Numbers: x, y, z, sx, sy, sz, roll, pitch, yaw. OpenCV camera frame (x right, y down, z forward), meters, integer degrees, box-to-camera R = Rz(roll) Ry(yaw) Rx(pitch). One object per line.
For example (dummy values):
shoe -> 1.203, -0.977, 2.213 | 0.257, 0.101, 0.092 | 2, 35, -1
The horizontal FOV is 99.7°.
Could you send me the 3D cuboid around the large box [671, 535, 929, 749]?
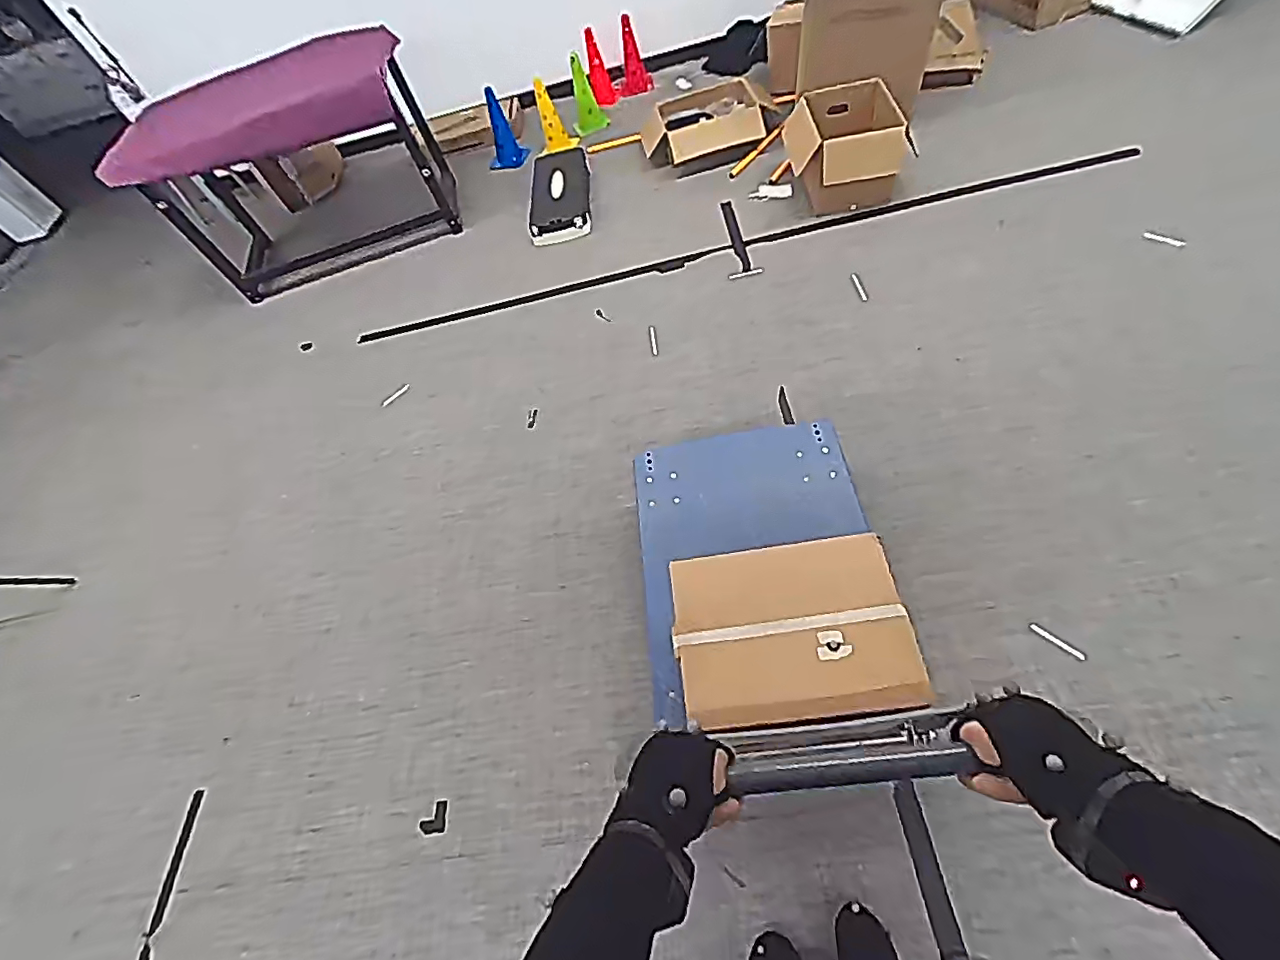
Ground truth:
large box -> 0.295, 0.346, 1.112 | 0.408, 0.320, 0.320 | -10, 59, 6
